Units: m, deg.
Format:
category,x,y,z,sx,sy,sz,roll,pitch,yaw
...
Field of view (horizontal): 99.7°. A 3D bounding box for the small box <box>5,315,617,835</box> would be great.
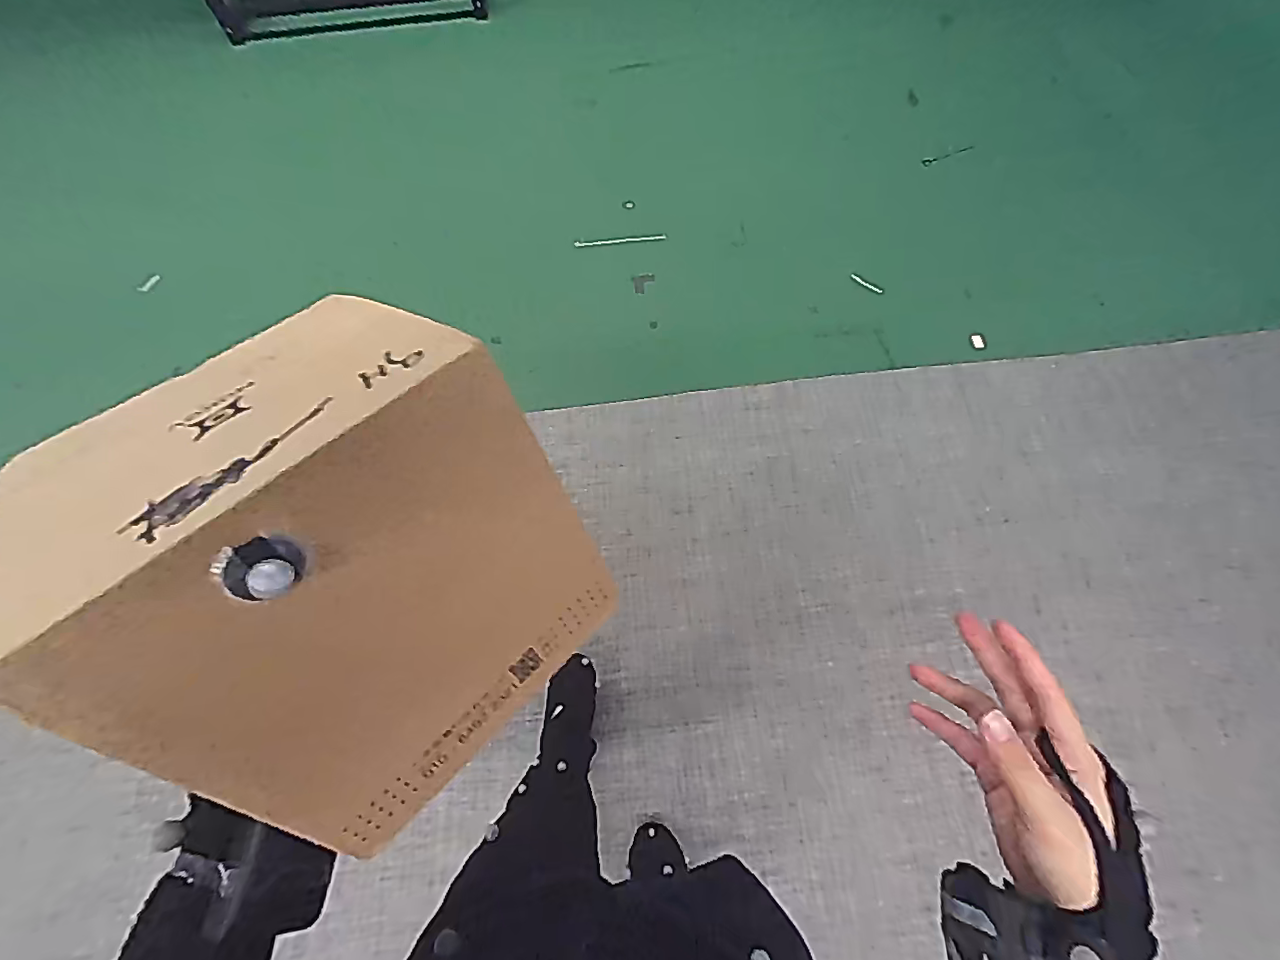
category,x,y,z,sx,sy,sz,roll,pitch,yaw
small box,-0.143,0.038,0.279,0.179,0.176,0.168,24,59,41
